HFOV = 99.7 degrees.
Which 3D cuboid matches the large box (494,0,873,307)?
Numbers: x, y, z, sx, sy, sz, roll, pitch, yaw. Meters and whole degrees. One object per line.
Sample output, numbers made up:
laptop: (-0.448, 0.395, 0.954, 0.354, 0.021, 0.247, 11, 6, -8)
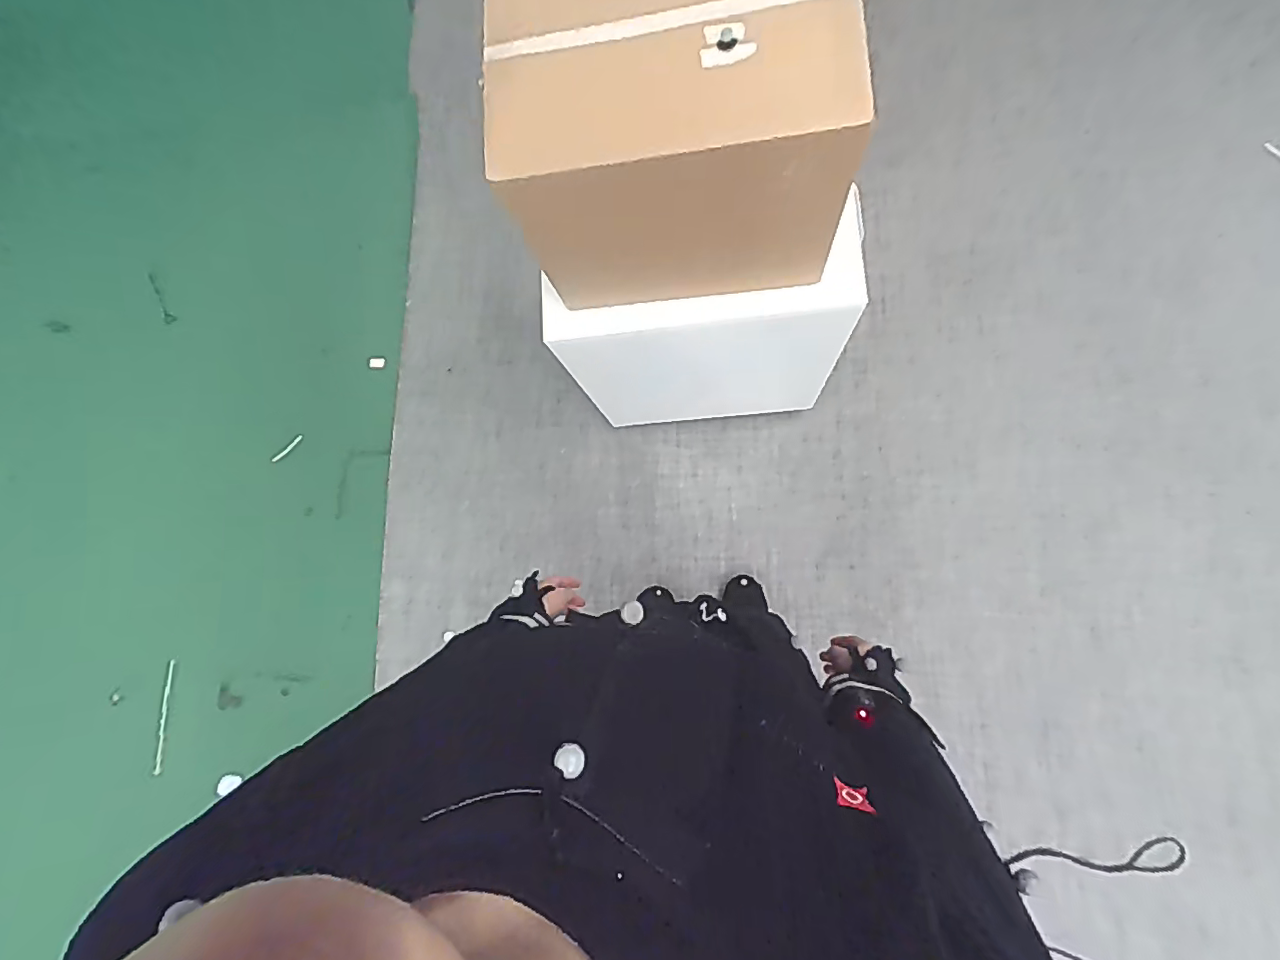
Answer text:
large box: (0.049, -0.466, 0.736, 0.408, 0.320, 0.320, -4, 81, 7)
